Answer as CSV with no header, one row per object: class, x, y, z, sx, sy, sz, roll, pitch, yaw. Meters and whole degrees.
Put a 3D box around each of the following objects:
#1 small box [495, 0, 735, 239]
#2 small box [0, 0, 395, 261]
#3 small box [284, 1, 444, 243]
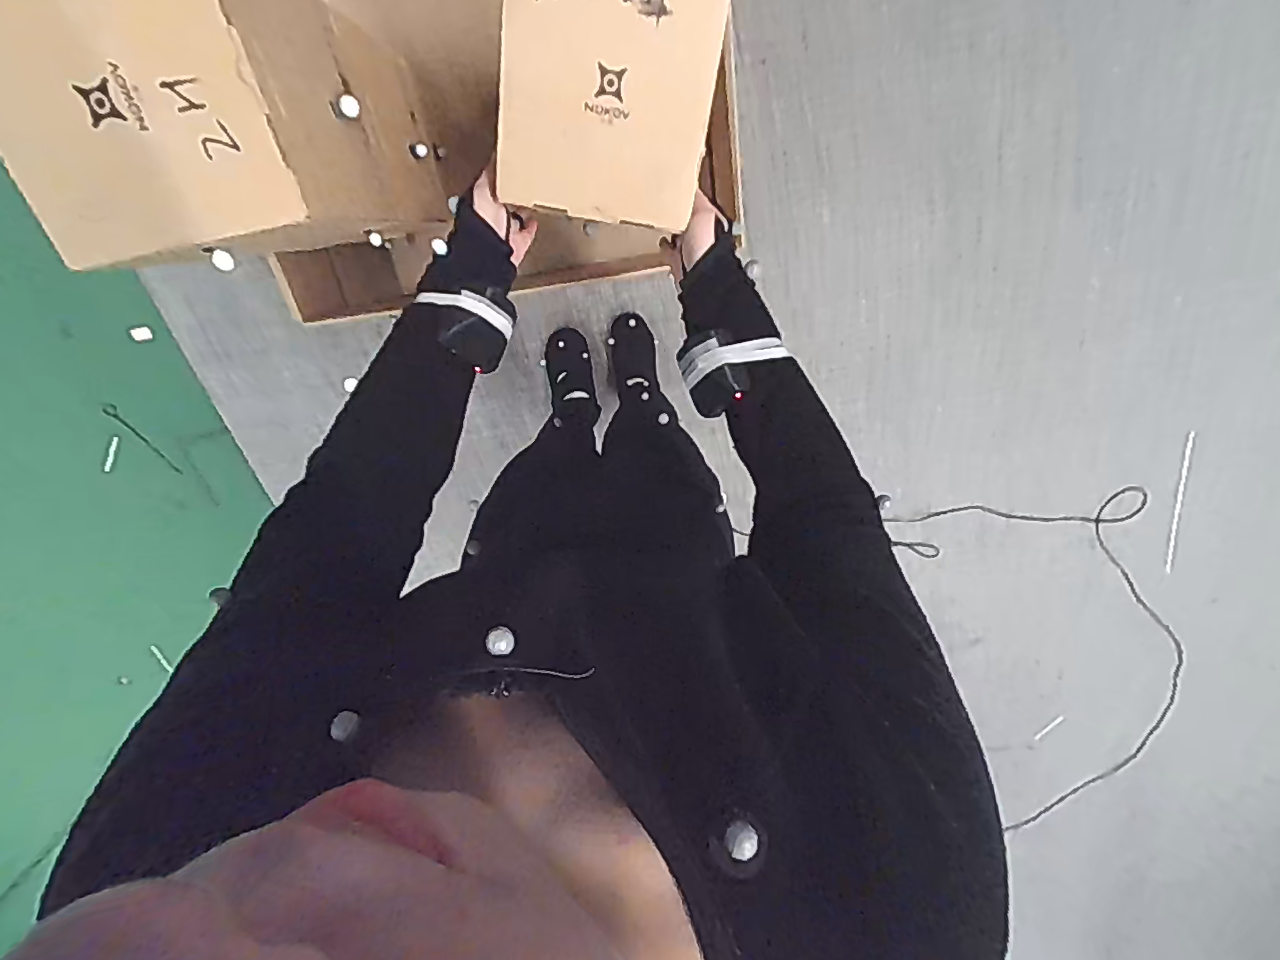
small box,-0.031,-0.333,0.491,0.168,0.176,0.179,7,117,-10
small box,-0.320,-0.267,0.404,0.179,0.176,0.168,-10,116,2
small box,-0.328,-0.341,0.551,0.179,0.176,0.168,-10,116,1
